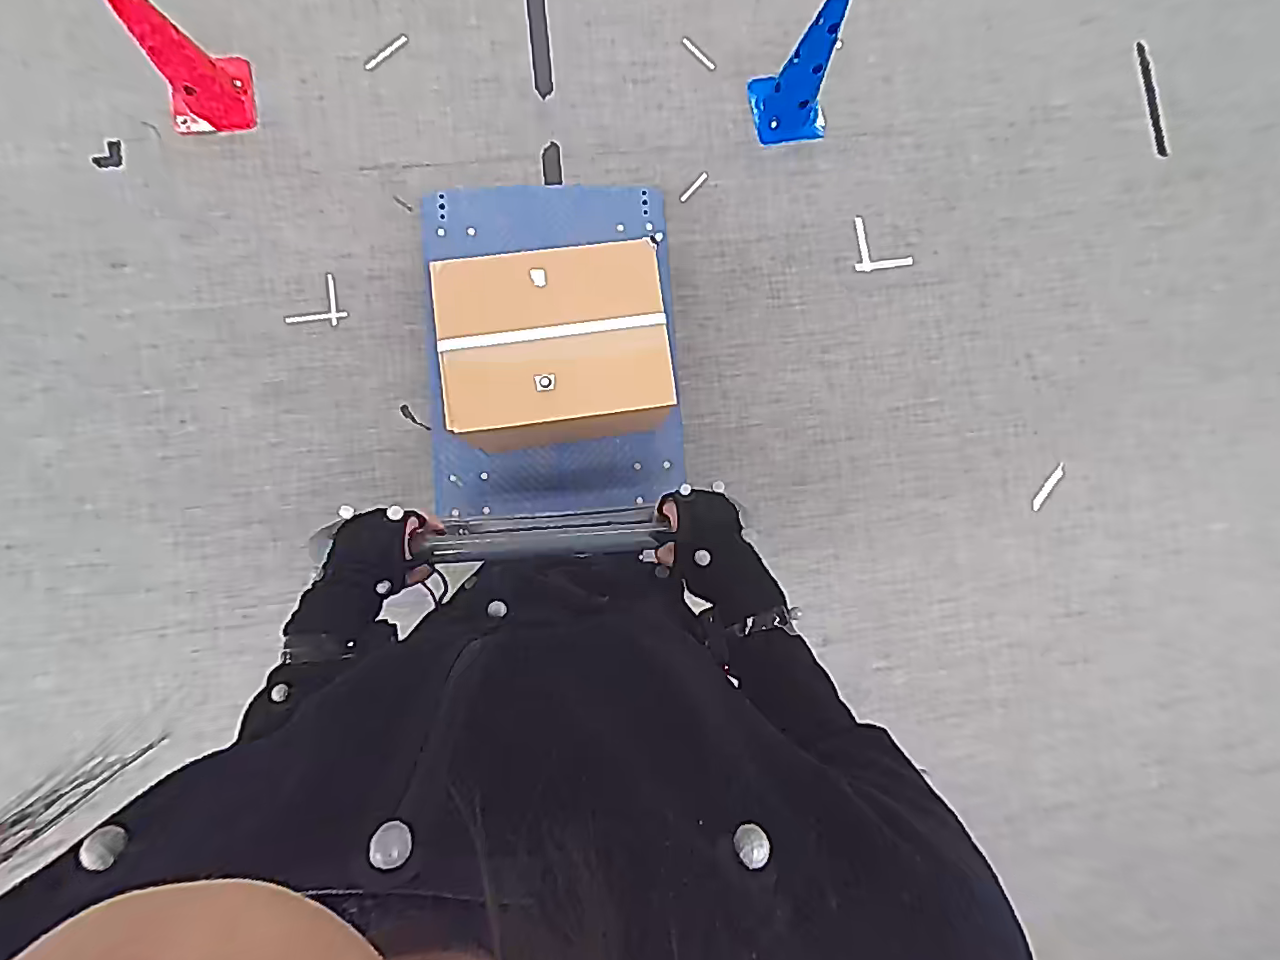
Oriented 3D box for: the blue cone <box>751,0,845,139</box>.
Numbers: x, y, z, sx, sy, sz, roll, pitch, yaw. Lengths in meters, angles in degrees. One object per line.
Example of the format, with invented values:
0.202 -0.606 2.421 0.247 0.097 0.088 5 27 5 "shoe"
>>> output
0.437 -1.081 1.380 0.193 0.380 0.192 -10 86 -6 "blue cone"
